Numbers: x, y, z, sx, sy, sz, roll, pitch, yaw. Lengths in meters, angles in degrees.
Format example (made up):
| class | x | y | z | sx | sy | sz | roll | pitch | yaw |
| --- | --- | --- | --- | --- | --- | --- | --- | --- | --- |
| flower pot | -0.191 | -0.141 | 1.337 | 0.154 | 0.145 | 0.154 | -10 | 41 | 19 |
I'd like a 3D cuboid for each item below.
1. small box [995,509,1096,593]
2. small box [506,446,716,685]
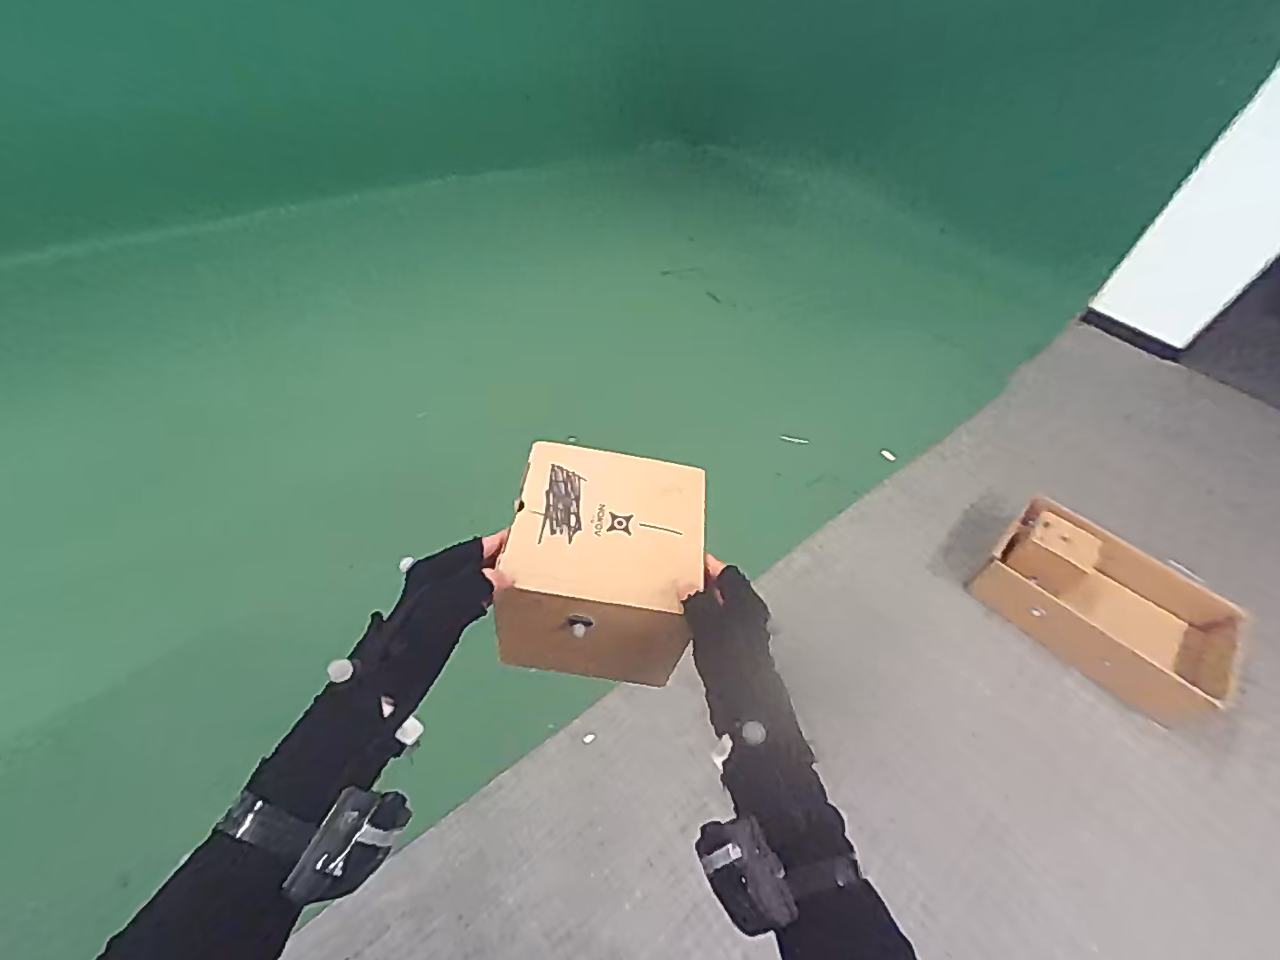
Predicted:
| class | x | y | z | sx | sy | sz | roll | pitch | yaw |
| --- | --- | --- | --- | --- | --- | --- | --- | --- | --- |
| small box | 1.278 | 0.233 | 1.711 | 0.179 | 0.176 | 0.168 | 37 | 54 | 21 |
| small box | -0.029 | 0.093 | 0.552 | 0.179 | 0.176 | 0.168 | 11 | 50 | -4 |
